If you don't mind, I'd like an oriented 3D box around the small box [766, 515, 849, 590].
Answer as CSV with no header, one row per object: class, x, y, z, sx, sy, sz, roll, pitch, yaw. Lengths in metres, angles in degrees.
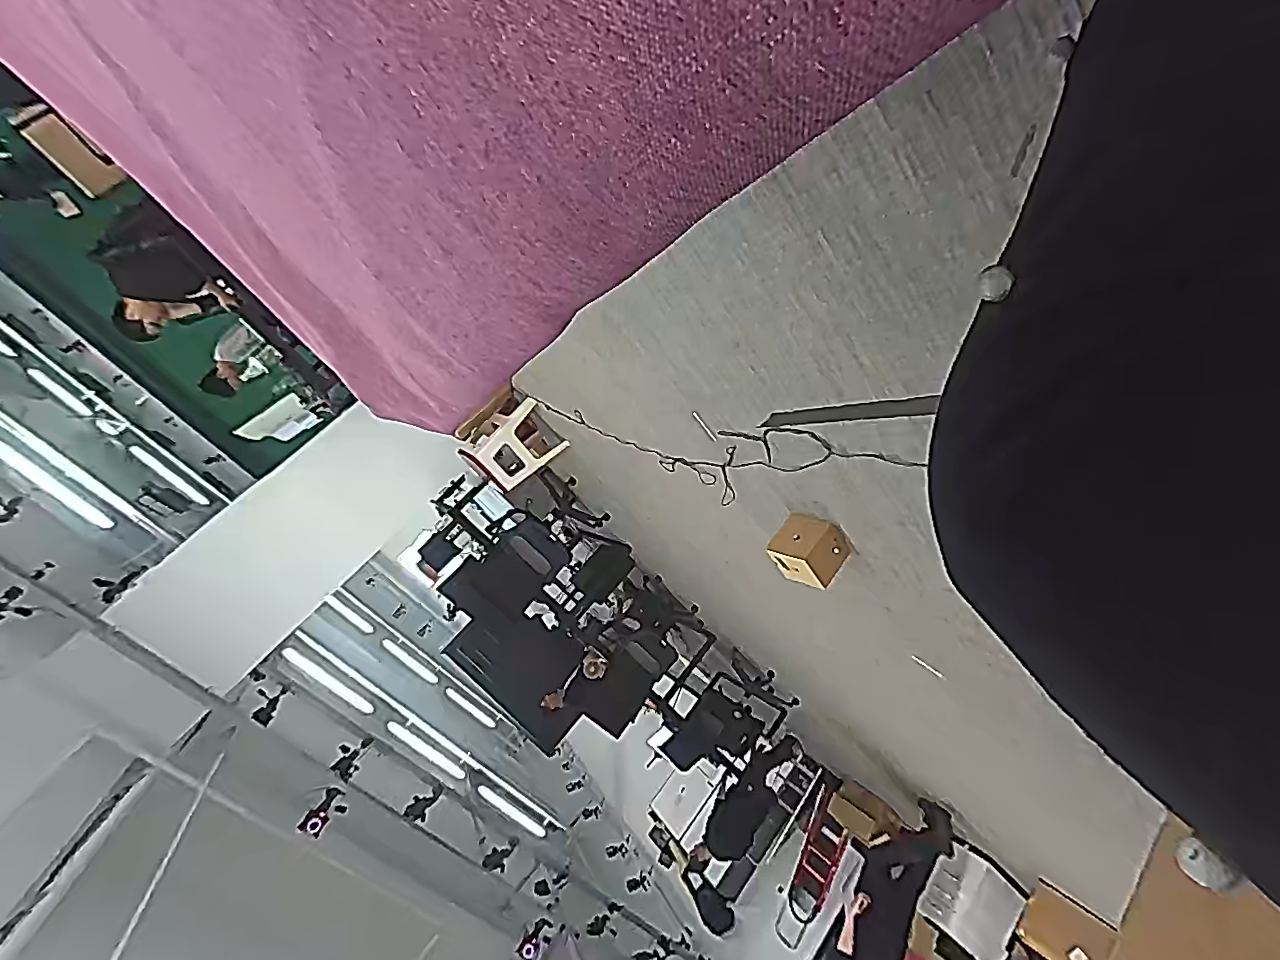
small box,0.572,0.240,1.841,0.168,0.176,0.179,50,160,-27
